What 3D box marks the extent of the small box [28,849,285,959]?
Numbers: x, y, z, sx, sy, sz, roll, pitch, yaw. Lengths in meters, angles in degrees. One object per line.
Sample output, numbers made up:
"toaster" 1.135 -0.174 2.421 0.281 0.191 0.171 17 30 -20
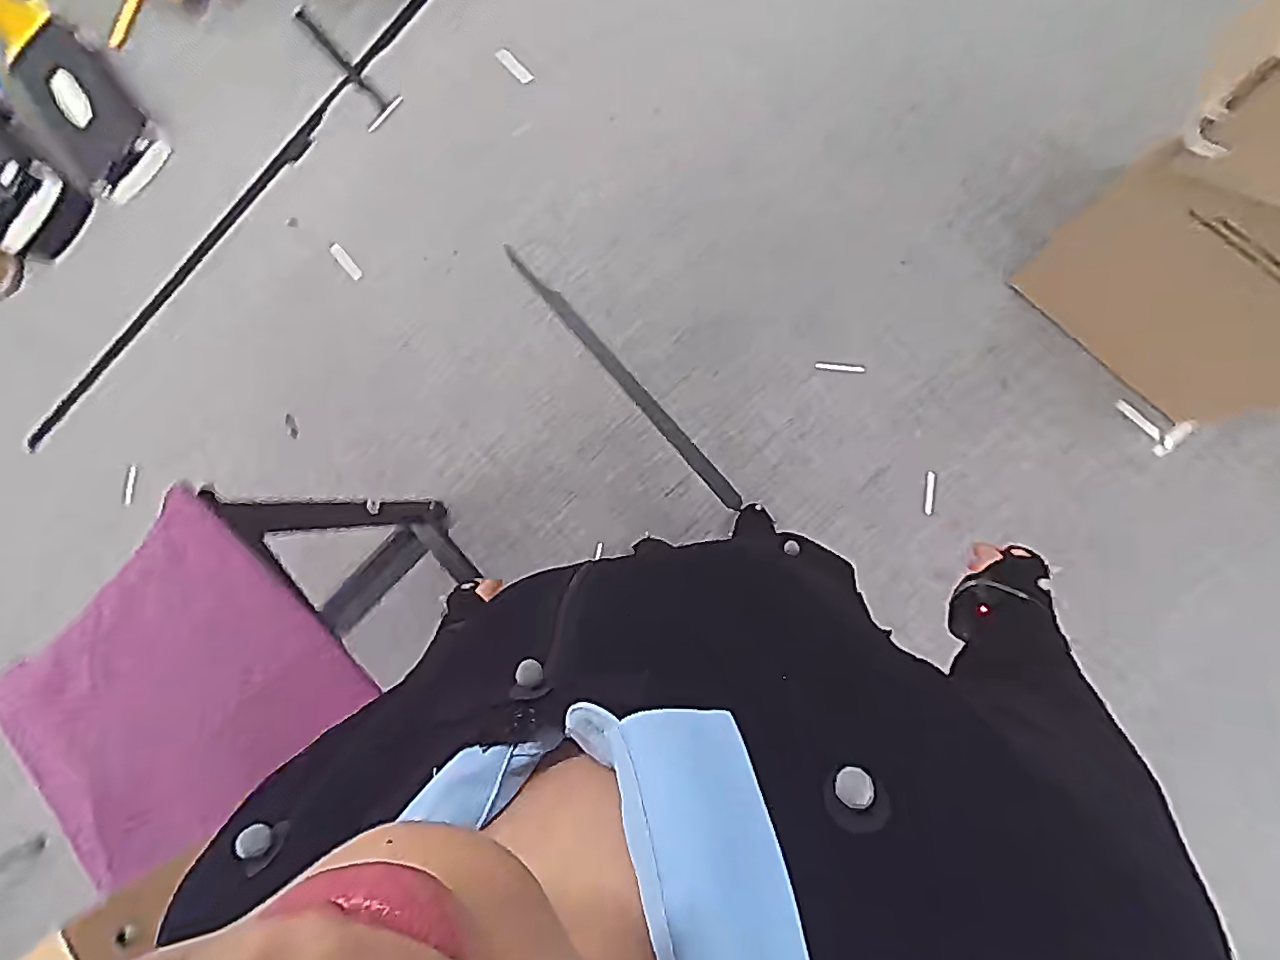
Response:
"small box" -0.555 0.560 0.602 0.168 0.176 0.179 -41 81 7
